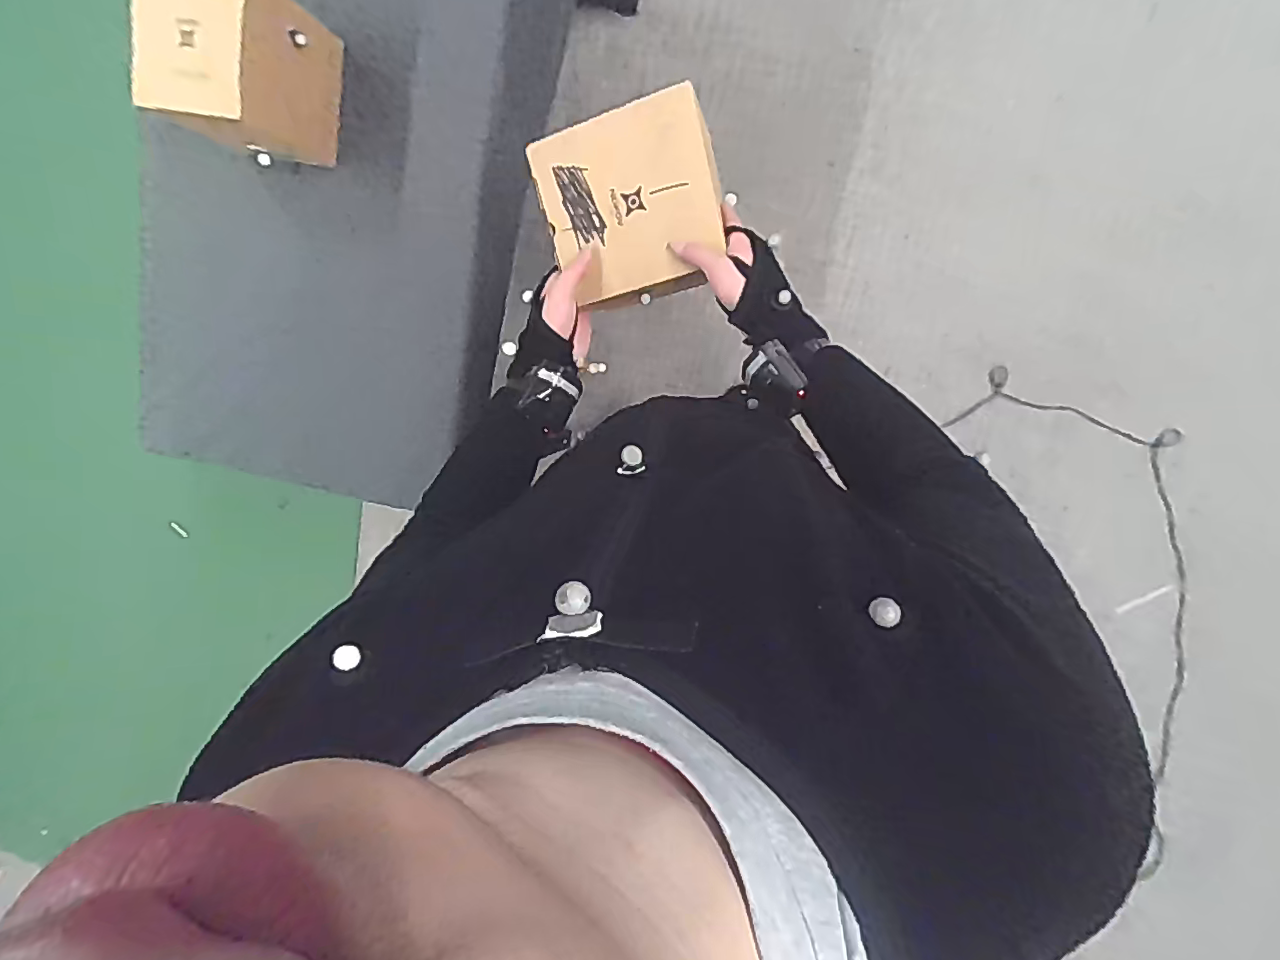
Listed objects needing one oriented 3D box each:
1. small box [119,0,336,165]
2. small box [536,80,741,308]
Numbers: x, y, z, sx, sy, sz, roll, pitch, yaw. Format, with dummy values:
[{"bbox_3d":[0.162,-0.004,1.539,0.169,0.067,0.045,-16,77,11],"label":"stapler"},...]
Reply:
[{"bbox_3d":[-0.541,-0.558,0.728,0.168,0.176,0.179,12,104,8],"label":"small box"},{"bbox_3d":[0.012,-0.295,0.606,0.179,0.176,0.168,-11,104,14],"label":"small box"}]
